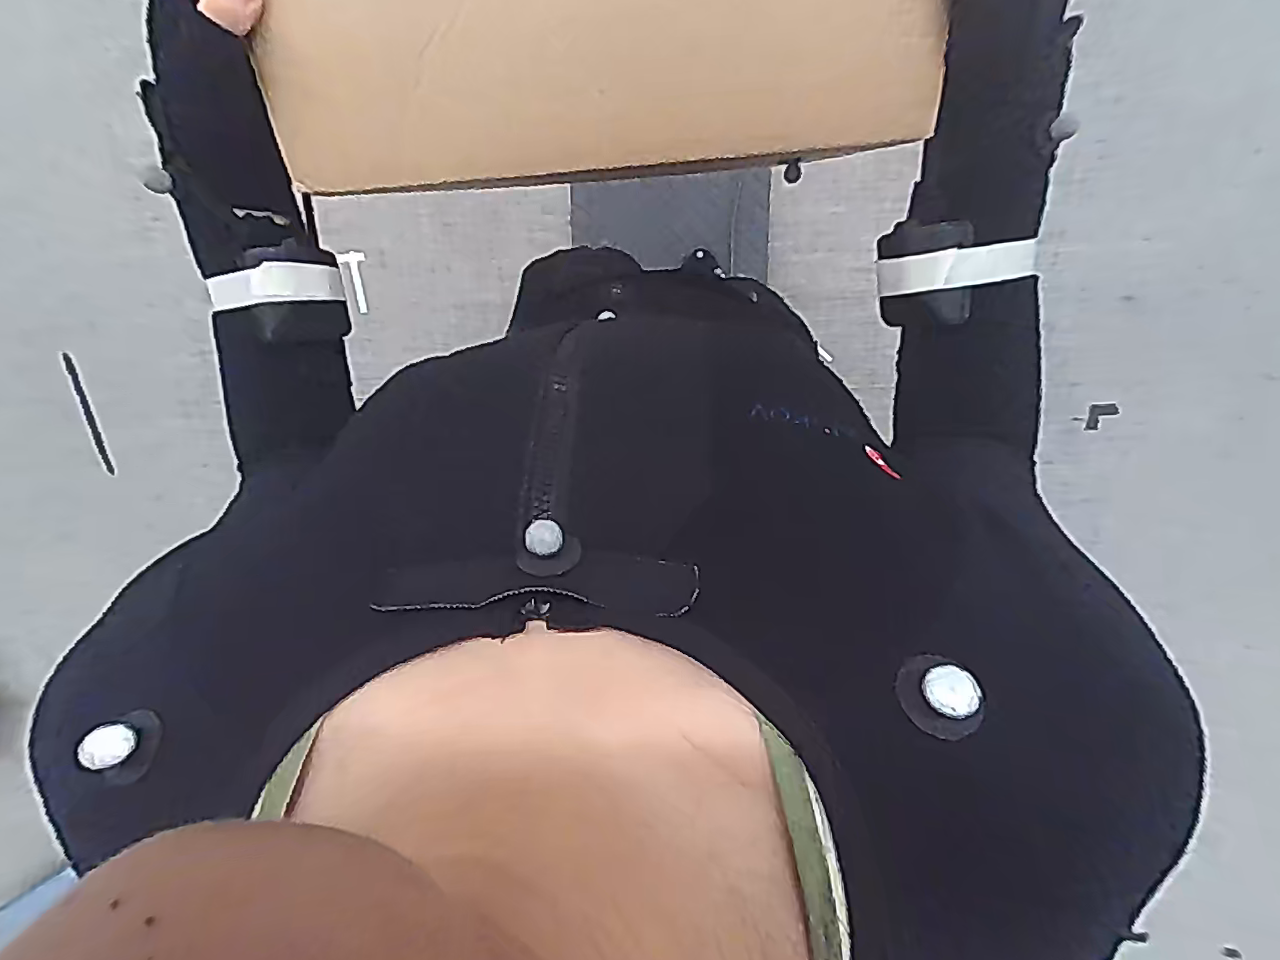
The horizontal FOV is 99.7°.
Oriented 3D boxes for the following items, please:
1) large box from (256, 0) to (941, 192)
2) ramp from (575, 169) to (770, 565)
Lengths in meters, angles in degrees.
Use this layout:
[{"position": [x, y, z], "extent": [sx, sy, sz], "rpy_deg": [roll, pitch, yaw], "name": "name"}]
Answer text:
[{"position": [-0.023, -0.414, 0.407], "extent": [0.408, 0.320, 0.320], "rpy_deg": [-2, 118, 6], "name": "large box"}, {"position": [0.079, -0.264, 1.415], "extent": [0.509, 0.206, 0.991], "rpy_deg": [-1, 109, 8], "name": "ramp"}]
